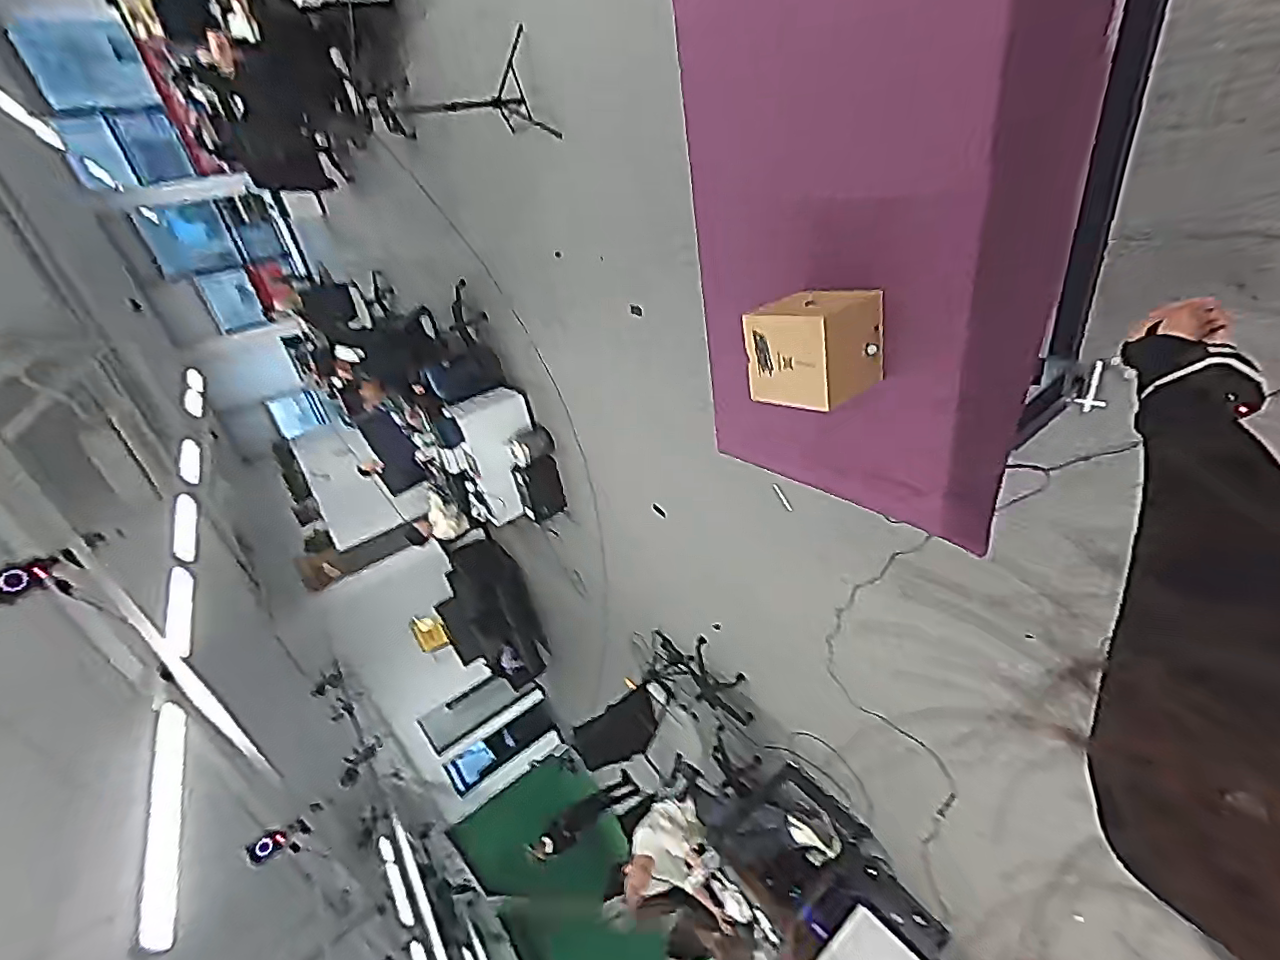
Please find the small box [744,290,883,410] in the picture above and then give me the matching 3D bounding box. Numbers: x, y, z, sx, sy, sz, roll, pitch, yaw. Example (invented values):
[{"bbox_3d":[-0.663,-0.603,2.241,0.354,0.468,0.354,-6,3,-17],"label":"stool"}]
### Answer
[{"bbox_3d":[0.319,-0.244,0.993,0.179,0.176,0.168,22,133,50],"label":"small box"}]
